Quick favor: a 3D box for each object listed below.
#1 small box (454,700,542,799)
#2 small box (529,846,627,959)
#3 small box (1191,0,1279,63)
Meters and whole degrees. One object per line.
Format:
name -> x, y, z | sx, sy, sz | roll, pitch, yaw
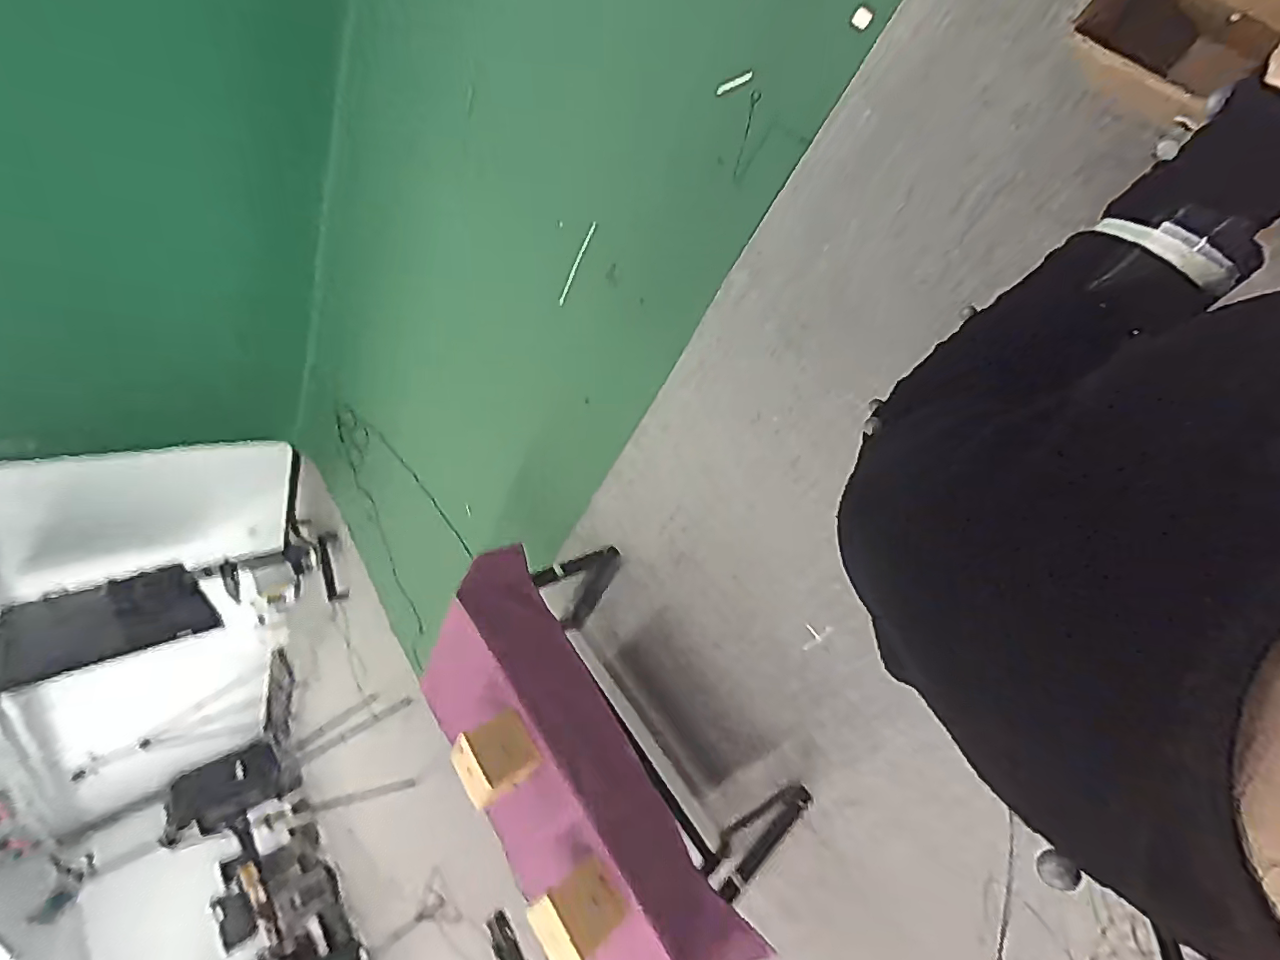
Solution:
small box -> -0.419, 0.792, 1.602 | 0.179, 0.176, 0.168 | 48, 128, 25
small box -> -0.159, 1.108, 1.420 | 0.168, 0.176, 0.179 | 50, 129, 25
small box -> 0.720, -0.565, 0.550 | 0.179, 0.176, 0.168 | 54, 132, 20
